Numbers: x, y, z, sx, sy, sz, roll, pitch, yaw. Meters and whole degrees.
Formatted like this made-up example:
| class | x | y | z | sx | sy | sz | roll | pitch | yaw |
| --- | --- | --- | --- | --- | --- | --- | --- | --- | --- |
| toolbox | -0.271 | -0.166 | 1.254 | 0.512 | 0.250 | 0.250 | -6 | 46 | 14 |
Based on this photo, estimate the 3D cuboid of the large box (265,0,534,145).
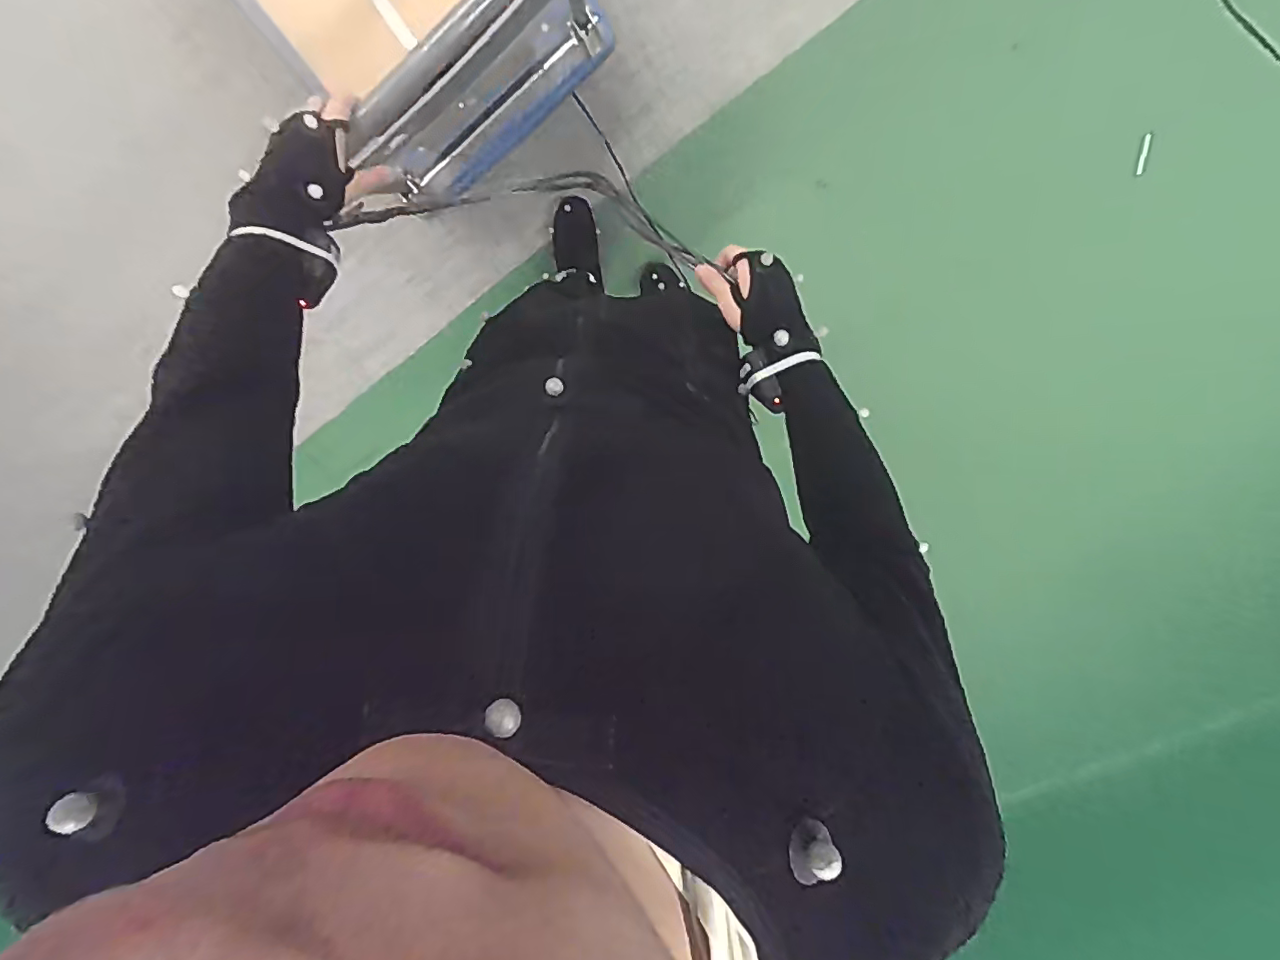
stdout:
| class | x | y | z | sx | sy | sz | roll | pitch | yaw |
| --- | --- | --- | --- | --- | --- | --- | --- | --- | --- |
| large box | -0.447 | -0.877 | 0.931 | 0.320 | 0.320 | 0.408 | -32 | 113 | 14 |
